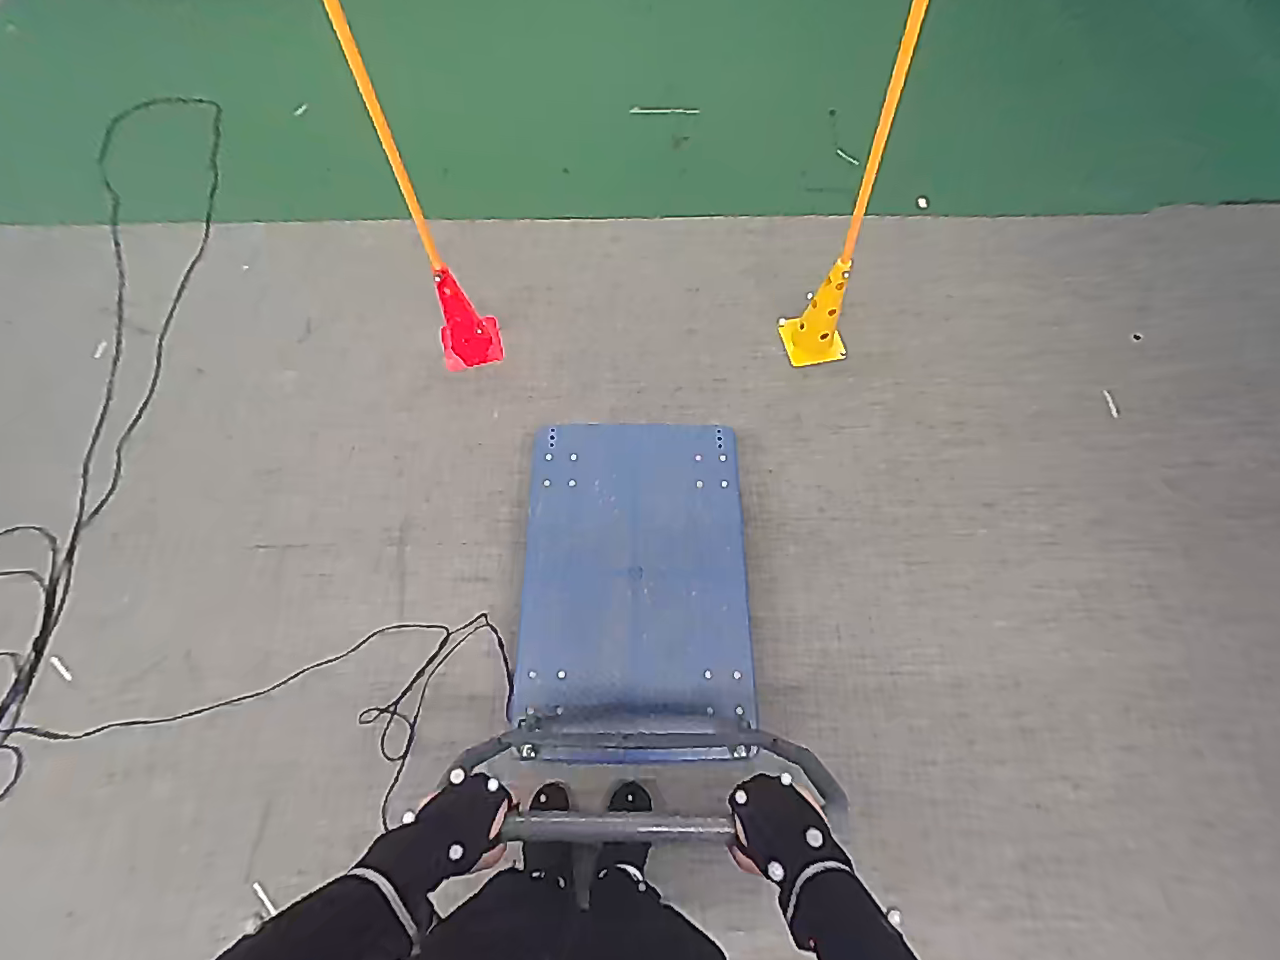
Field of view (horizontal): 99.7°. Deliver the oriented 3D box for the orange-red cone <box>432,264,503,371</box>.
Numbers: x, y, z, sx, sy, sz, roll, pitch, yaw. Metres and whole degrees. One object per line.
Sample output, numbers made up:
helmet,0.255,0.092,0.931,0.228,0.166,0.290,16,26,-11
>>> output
orange-red cone,-0.587,-0.542,1.729,0.199,0.360,0.198,-14,66,-5
